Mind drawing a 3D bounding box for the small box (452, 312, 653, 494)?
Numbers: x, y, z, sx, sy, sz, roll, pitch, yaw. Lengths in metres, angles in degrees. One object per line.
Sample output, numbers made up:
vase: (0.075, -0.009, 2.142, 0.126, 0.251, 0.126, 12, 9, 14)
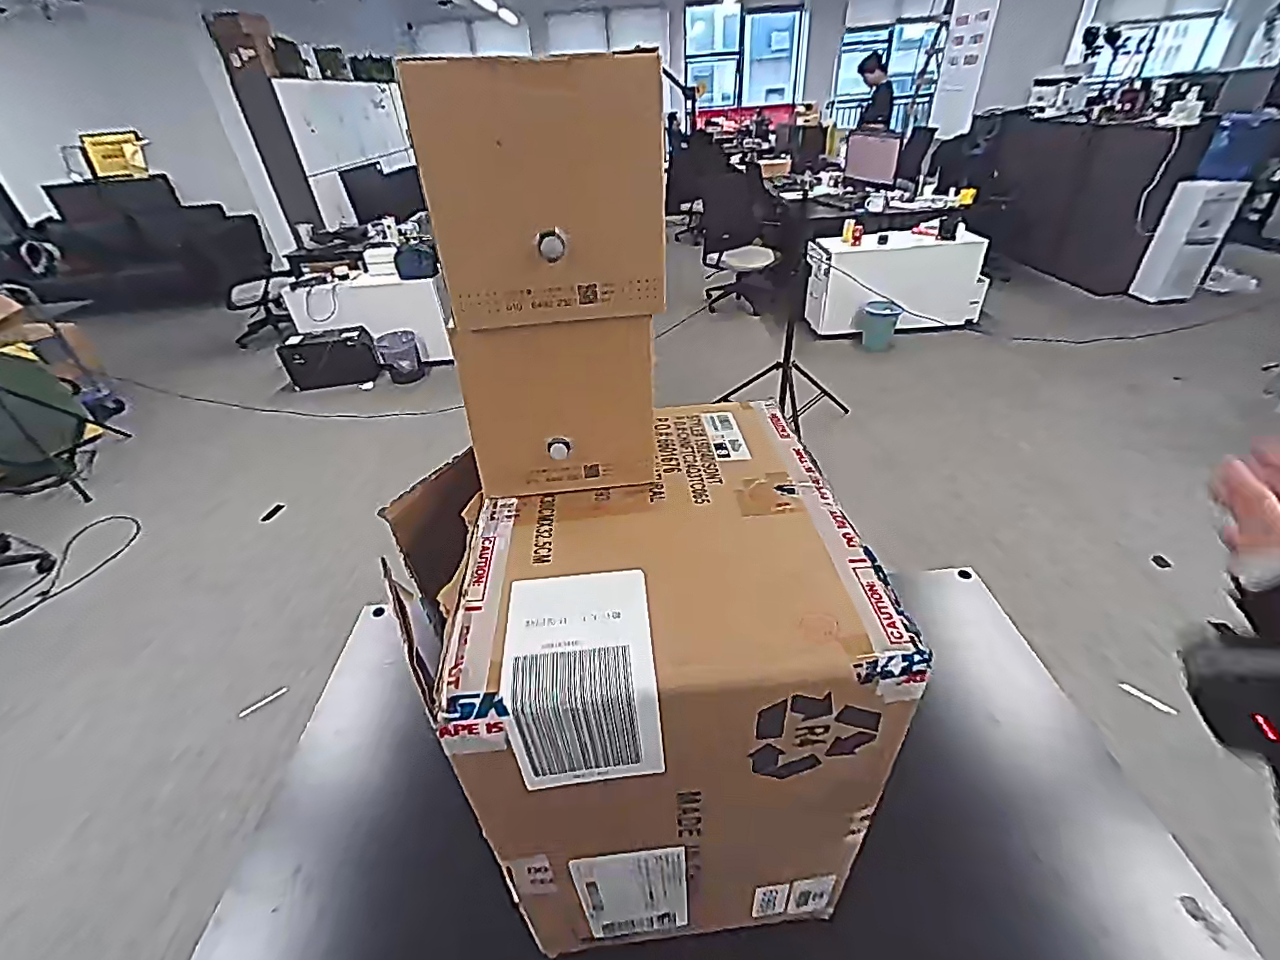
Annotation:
small box: (-0.078, -0.105, 0.554, 0.168, 0.176, 0.179, -6, 34, -5)

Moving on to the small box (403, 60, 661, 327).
small box: (-0.077, -0.238, 0.456, 0.168, 0.176, 0.179, -7, 34, -6)
